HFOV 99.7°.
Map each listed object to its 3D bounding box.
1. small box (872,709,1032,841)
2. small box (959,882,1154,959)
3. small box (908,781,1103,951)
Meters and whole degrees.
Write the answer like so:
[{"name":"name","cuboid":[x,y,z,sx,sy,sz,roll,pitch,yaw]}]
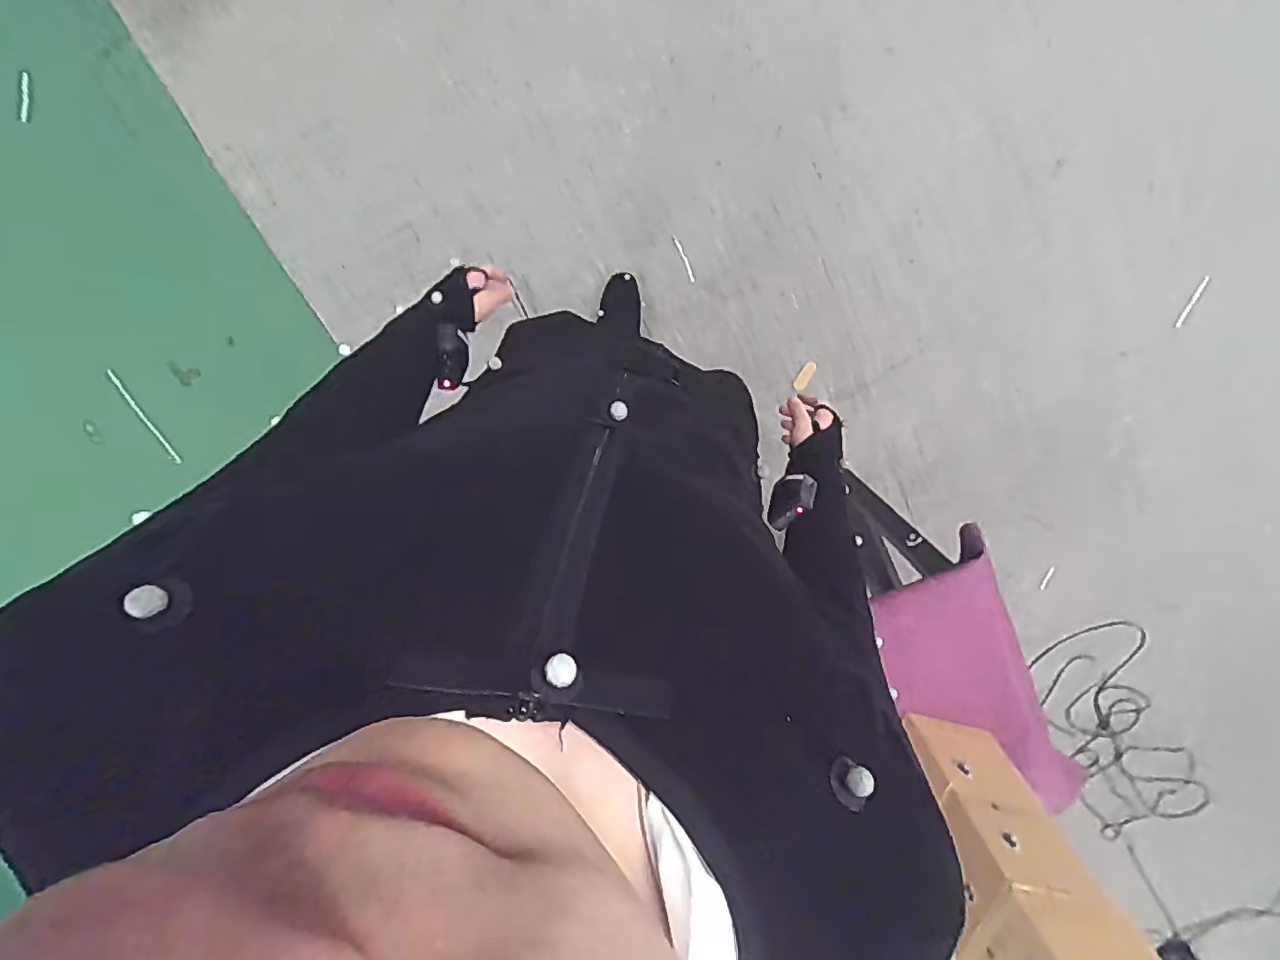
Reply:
[{"name":"small box","cuboid":[0.576,0.568,1.028,0.179,0.176,0.168,15,110,-5]},{"name":"small box","cuboid":[0.574,0.684,0.725,0.179,0.176,0.168,13,109,-4]},{"name":"small box","cuboid":[0.571,0.630,0.877,0.168,0.176,0.179,15,110,-4]}]
